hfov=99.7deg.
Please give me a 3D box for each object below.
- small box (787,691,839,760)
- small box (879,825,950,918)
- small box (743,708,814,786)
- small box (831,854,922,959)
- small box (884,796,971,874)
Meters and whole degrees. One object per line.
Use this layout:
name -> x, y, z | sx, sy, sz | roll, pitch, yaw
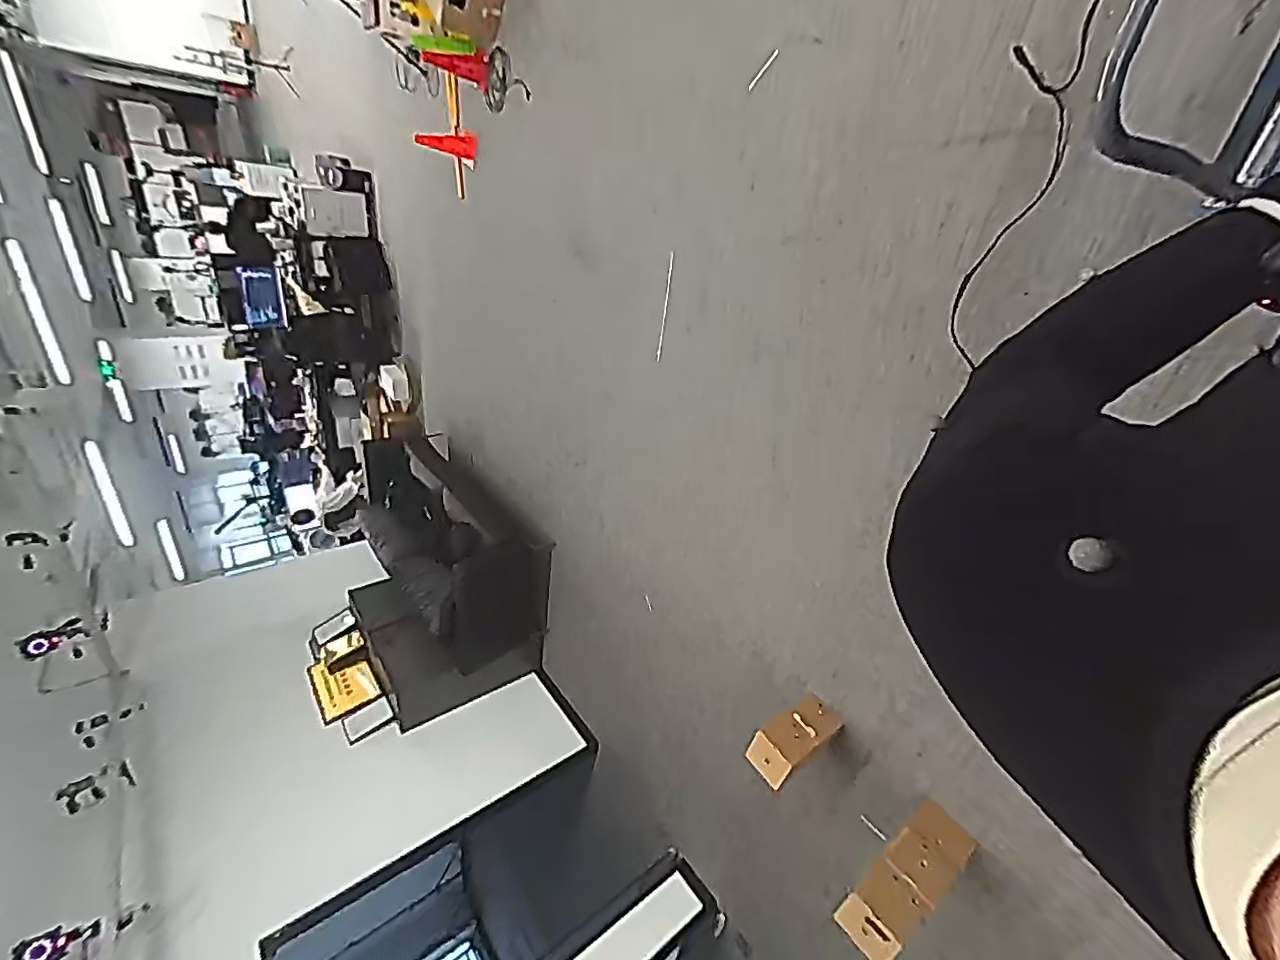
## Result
small box -> 0.659, 0.981, 2.151 | 0.168, 0.176, 0.179 | 45, 133, 31
small box -> 0.853, 1.254, 1.726 | 0.168, 0.176, 0.179 | 41, 130, 37
small box -> 0.530, 1.013, 2.060 | 0.168, 0.176, 0.179 | 42, 132, 37
small box -> 0.719, 1.289, 1.637 | 0.168, 0.176, 0.179 | 39, 131, 38
small box -> 0.976, 1.221, 1.829 | 0.179, 0.176, 0.168 | 41, 131, 37
